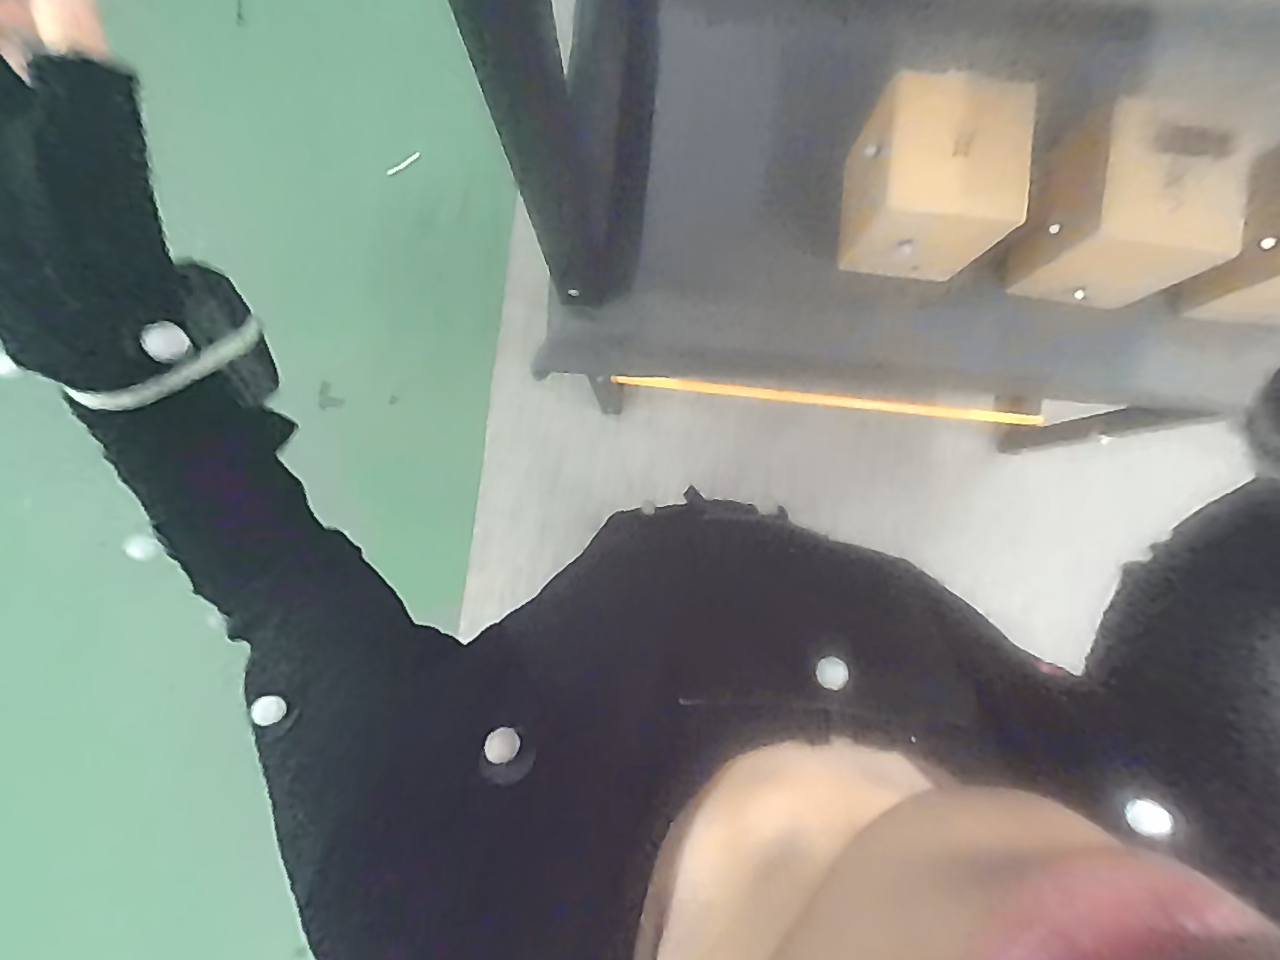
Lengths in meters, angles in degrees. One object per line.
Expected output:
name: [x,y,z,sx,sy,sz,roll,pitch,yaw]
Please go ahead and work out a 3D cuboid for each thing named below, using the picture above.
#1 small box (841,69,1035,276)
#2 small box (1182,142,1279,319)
small box: [0.381,-0.394,0.721,0.168,0.176,0.179,6,86,1]
small box: [0.870,-0.326,0.707,0.168,0.176,0.179,5,85,1]
